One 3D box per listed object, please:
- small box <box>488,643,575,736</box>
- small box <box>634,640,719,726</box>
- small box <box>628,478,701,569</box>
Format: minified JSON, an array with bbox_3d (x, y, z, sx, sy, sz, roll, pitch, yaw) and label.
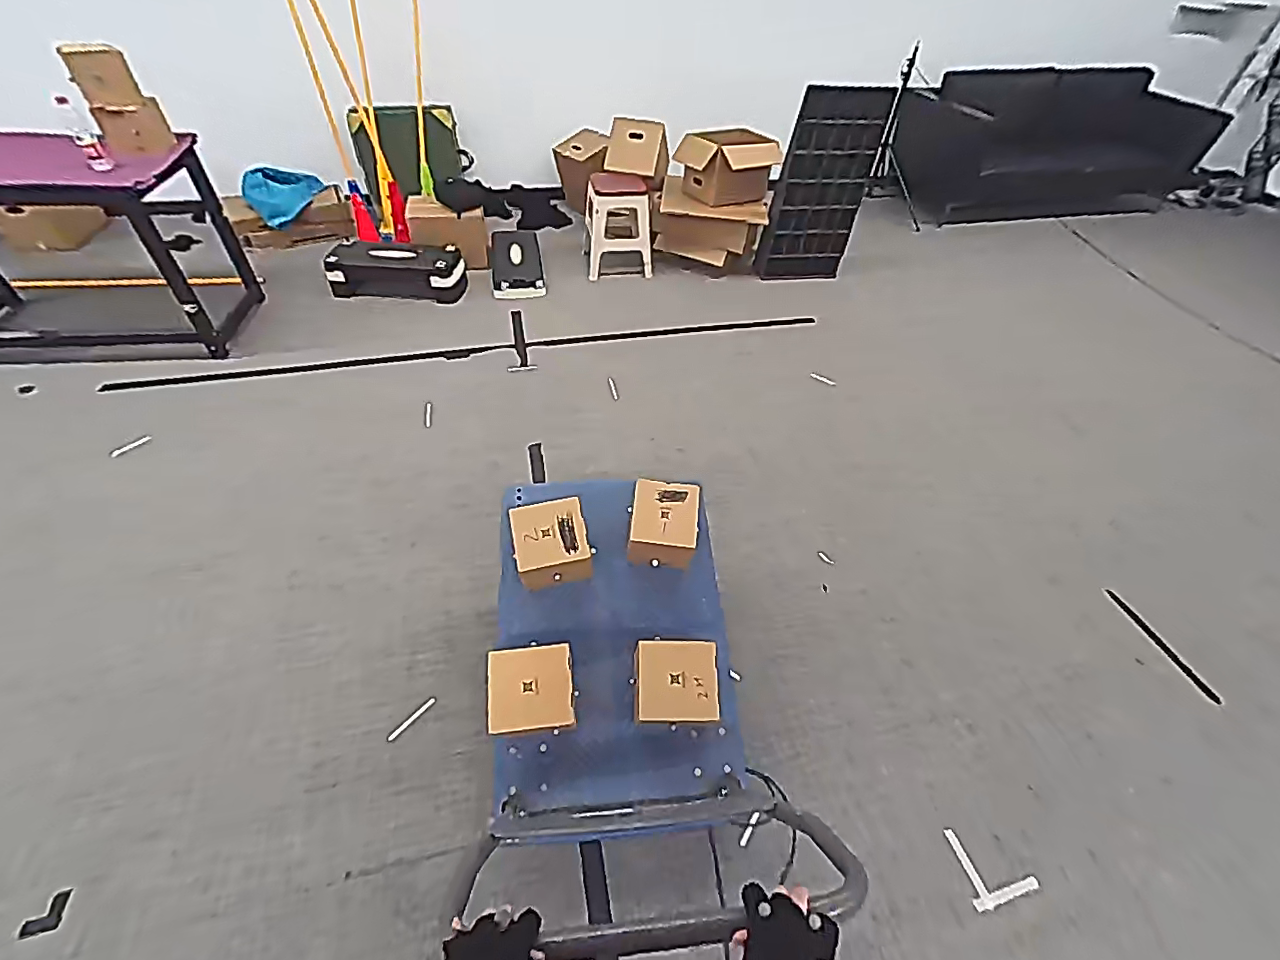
[{"bbox_3d":[-0.239,0.473,1.211,0.179,0.176,0.168,-4,63,-9],"label":"small box"},{"bbox_3d":[0.077,0.471,1.242,0.179,0.176,0.168,2,63,-4],"label":"small box"},{"bbox_3d":[0.060,0.118,1.424,0.168,0.176,0.179,8,63,-1],"label":"small box"}]
